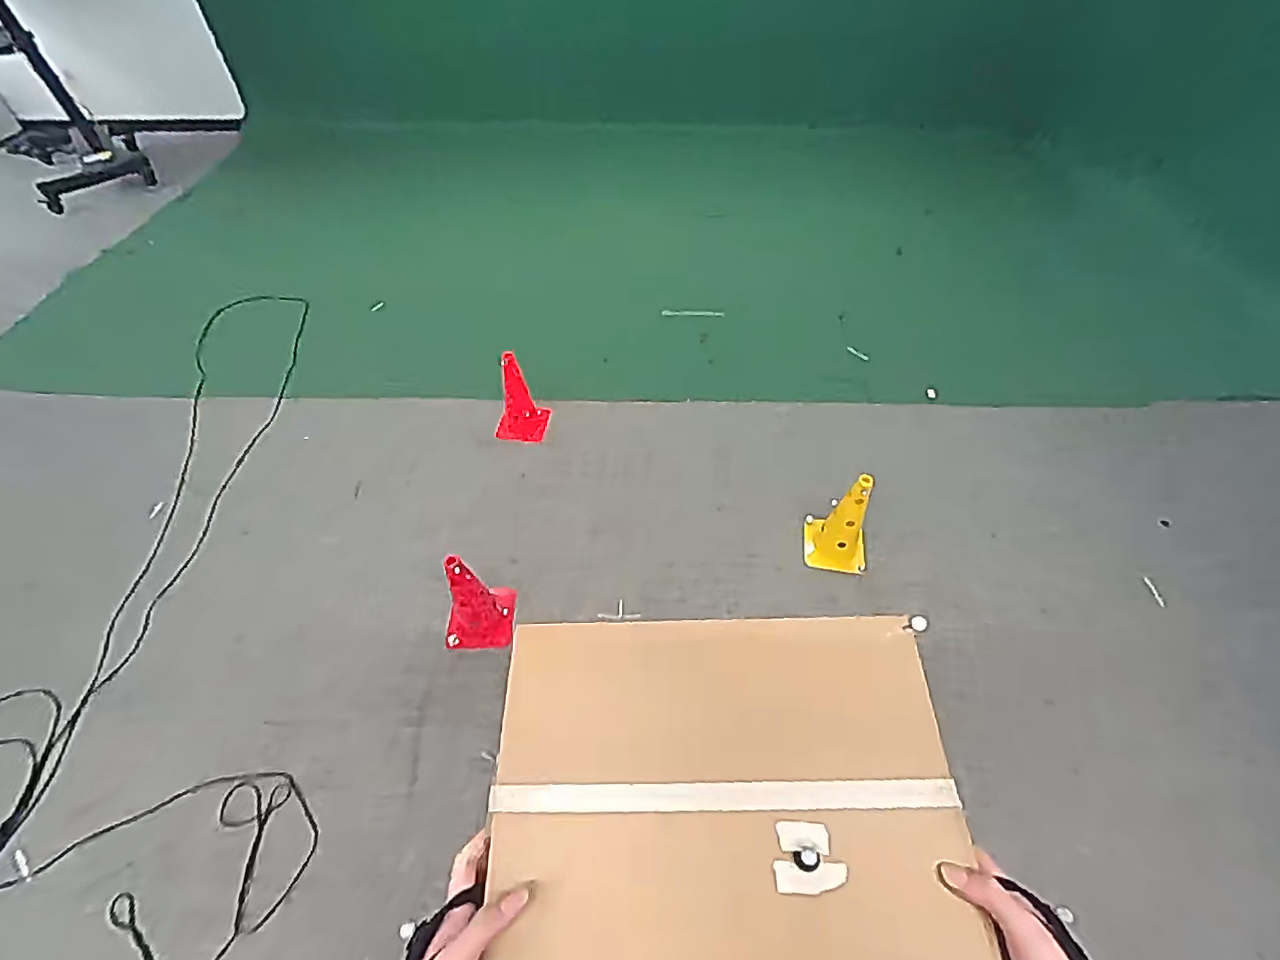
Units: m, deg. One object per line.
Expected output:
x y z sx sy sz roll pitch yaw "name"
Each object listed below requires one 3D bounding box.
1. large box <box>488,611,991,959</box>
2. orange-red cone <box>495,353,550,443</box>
0.078 0.354 0.617 0.408 0.320 0.320 -2 59 2 "large box"
-0.491 -0.339 2.114 0.199 0.360 0.198 6 50 7 "orange-red cone"
